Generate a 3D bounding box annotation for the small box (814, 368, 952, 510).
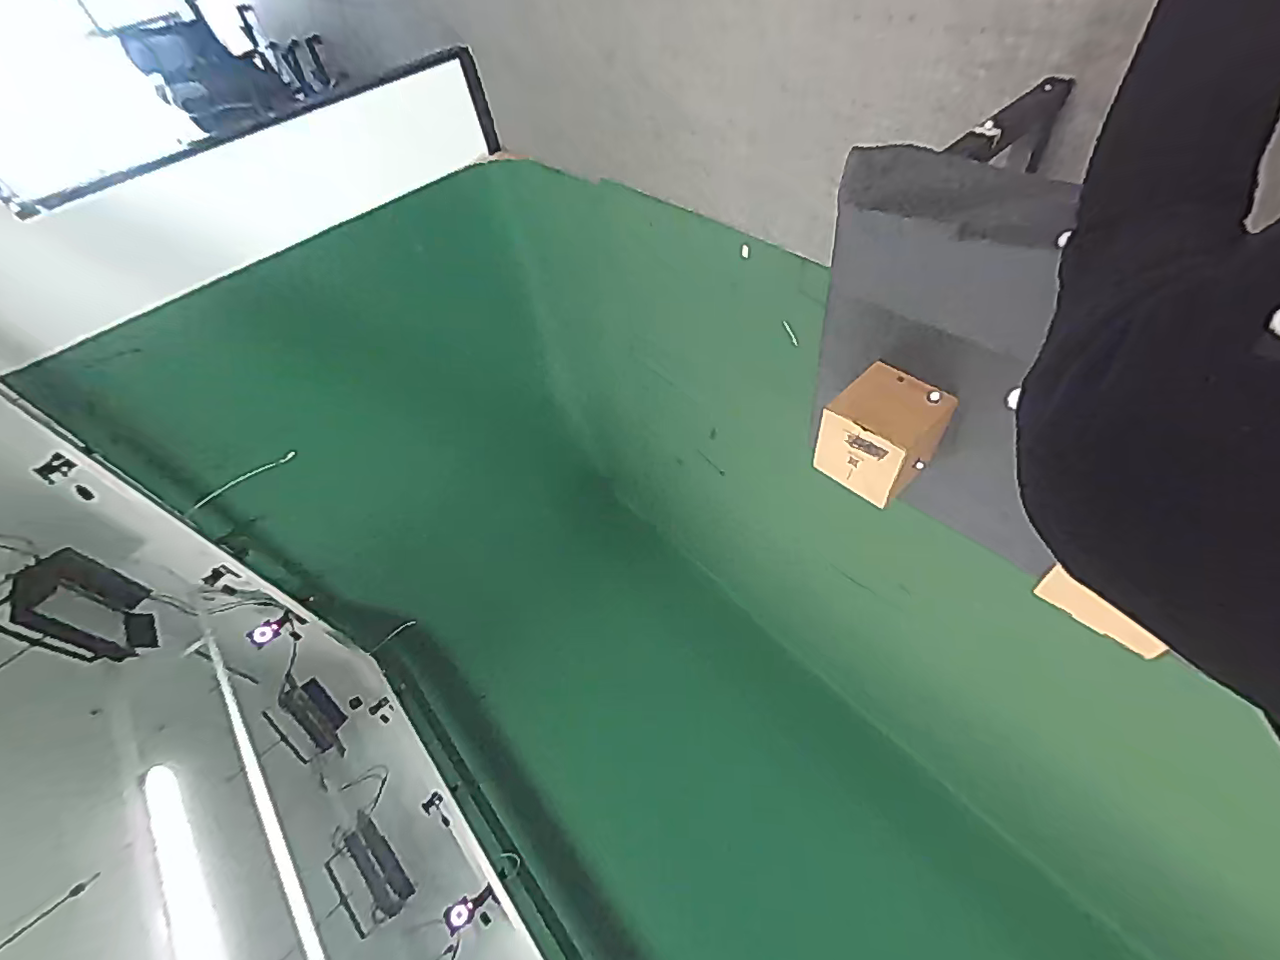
[{"bbox_3d":[0.465,-0.084,1.044,0.168,0.176,0.179,38,157,31],"label":"small box"}]
